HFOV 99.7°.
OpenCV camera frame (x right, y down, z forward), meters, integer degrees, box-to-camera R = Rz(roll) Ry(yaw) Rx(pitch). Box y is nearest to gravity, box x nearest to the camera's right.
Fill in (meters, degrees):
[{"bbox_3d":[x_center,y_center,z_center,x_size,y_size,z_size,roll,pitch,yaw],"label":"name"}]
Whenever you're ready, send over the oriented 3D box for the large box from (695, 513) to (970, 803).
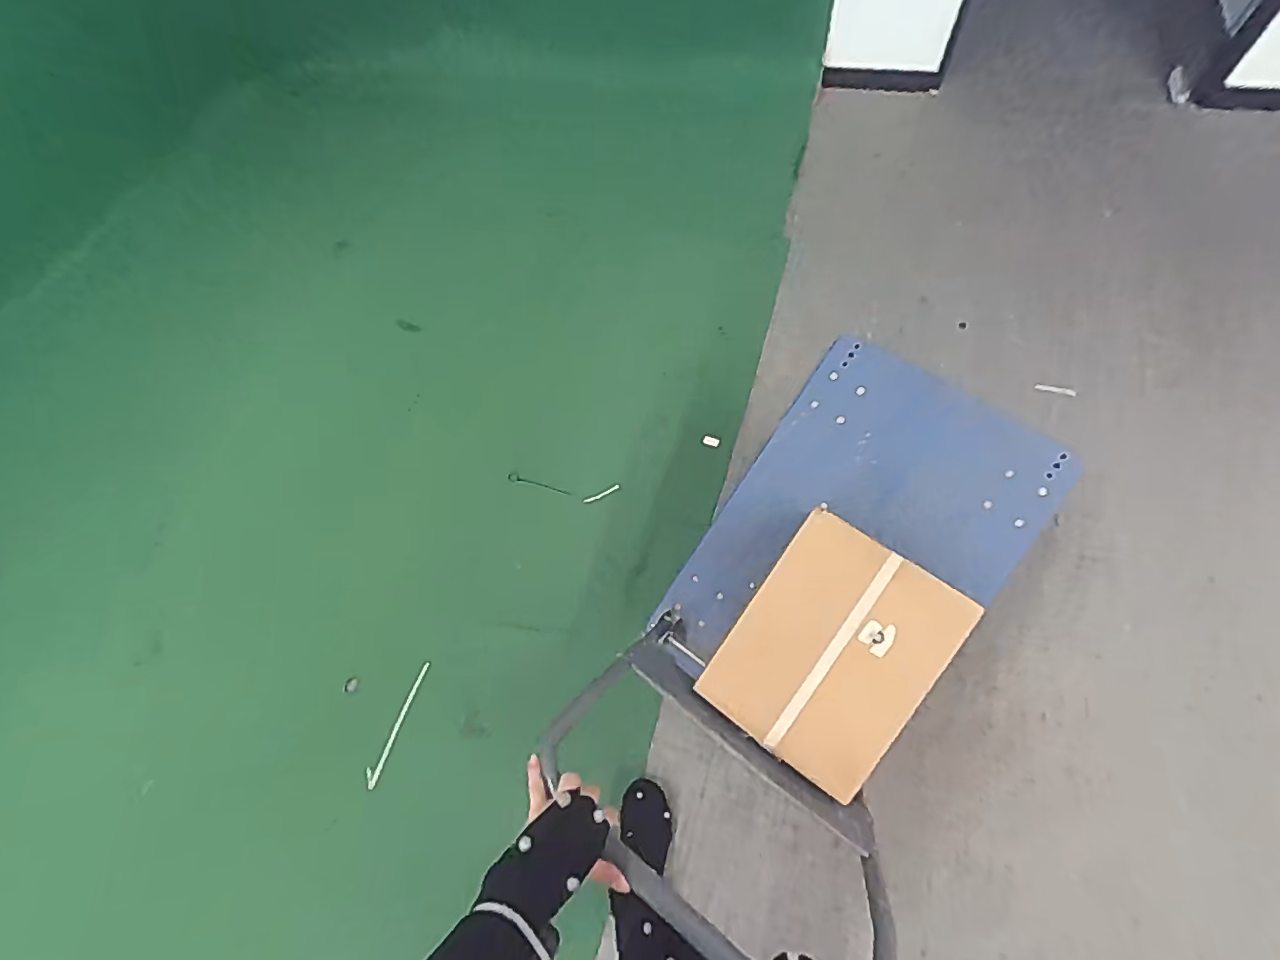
[{"bbox_3d":[0.364,0.323,1.091,0.320,0.320,0.408,34,93,16],"label":"large box"}]
